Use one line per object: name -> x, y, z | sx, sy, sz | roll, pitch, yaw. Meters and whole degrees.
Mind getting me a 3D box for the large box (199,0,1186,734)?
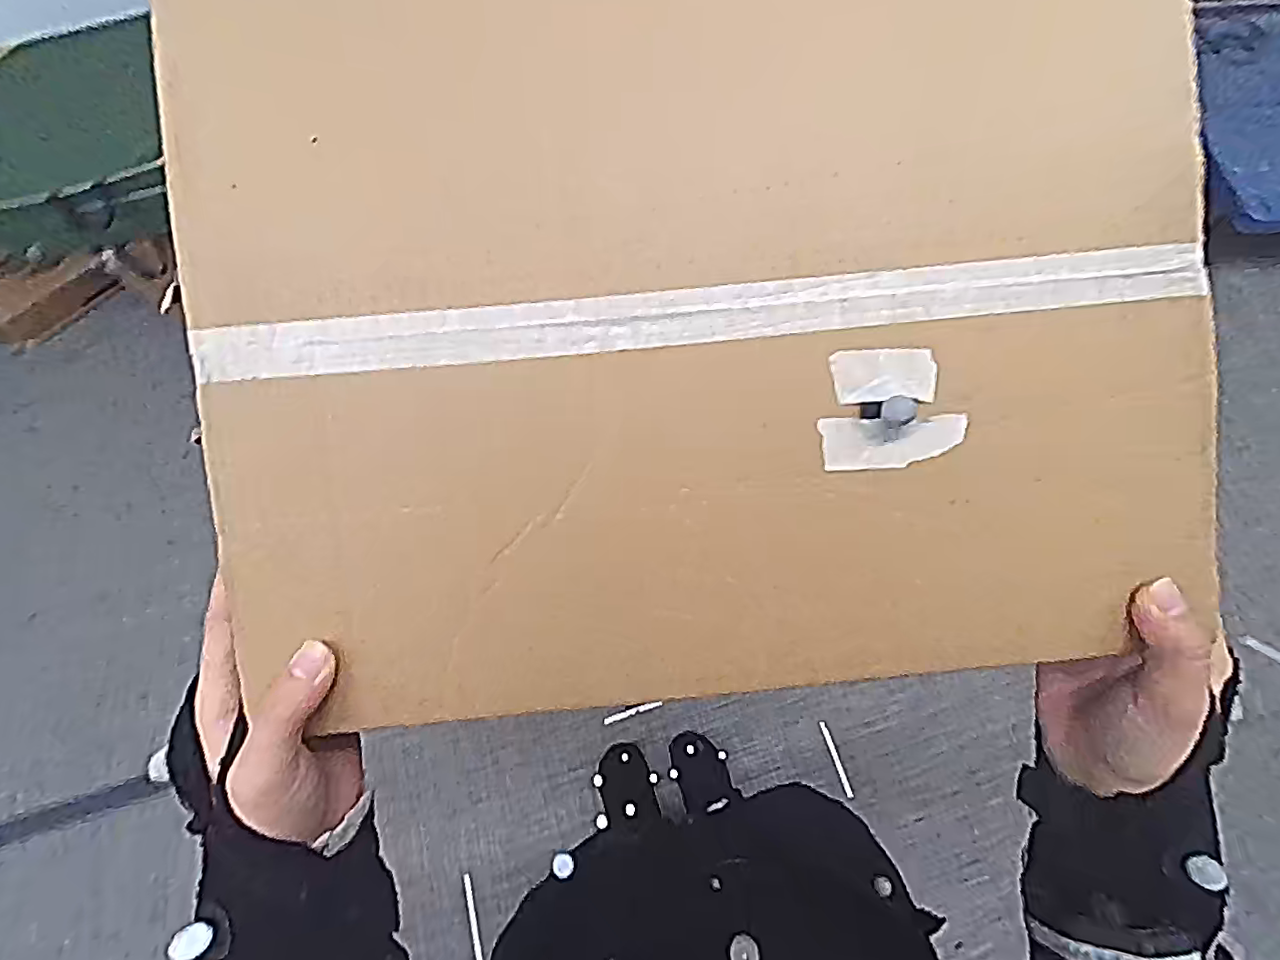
large box -> 0.025, -0.068, 0.377 | 0.408, 0.320, 0.320 | -5, 93, -2
